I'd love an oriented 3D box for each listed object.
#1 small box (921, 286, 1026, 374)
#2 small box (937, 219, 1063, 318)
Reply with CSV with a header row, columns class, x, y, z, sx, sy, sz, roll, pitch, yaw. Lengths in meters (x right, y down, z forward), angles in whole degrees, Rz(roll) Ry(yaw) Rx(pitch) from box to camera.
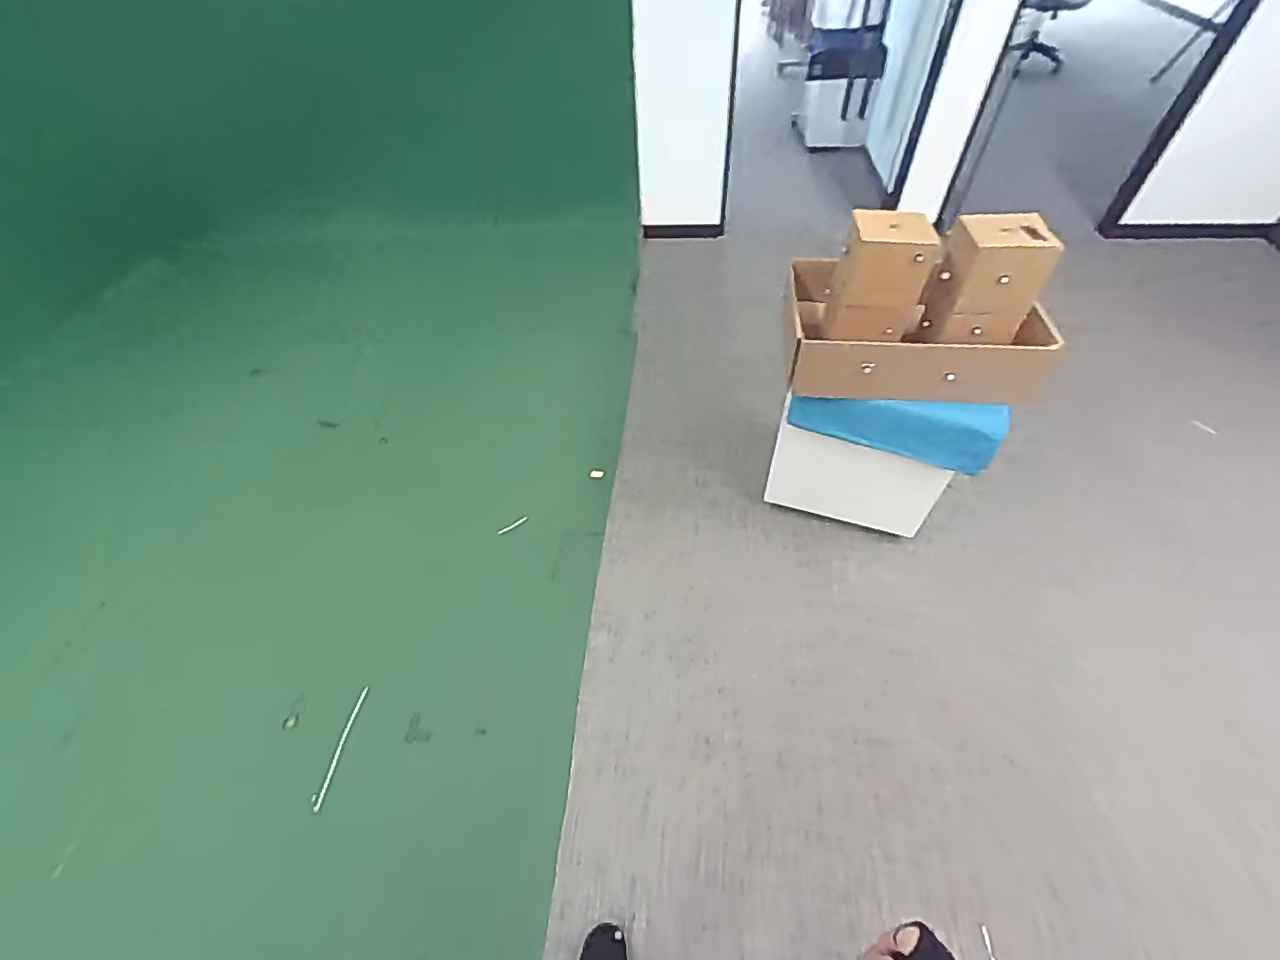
class,x,y,z,sx,sy,sz,roll,pitch,yaw
small box,0.854,-0.391,1.410,0.179,0.176,0.168,3,49,8
small box,0.846,-0.501,1.289,0.179,0.176,0.168,2,48,7
